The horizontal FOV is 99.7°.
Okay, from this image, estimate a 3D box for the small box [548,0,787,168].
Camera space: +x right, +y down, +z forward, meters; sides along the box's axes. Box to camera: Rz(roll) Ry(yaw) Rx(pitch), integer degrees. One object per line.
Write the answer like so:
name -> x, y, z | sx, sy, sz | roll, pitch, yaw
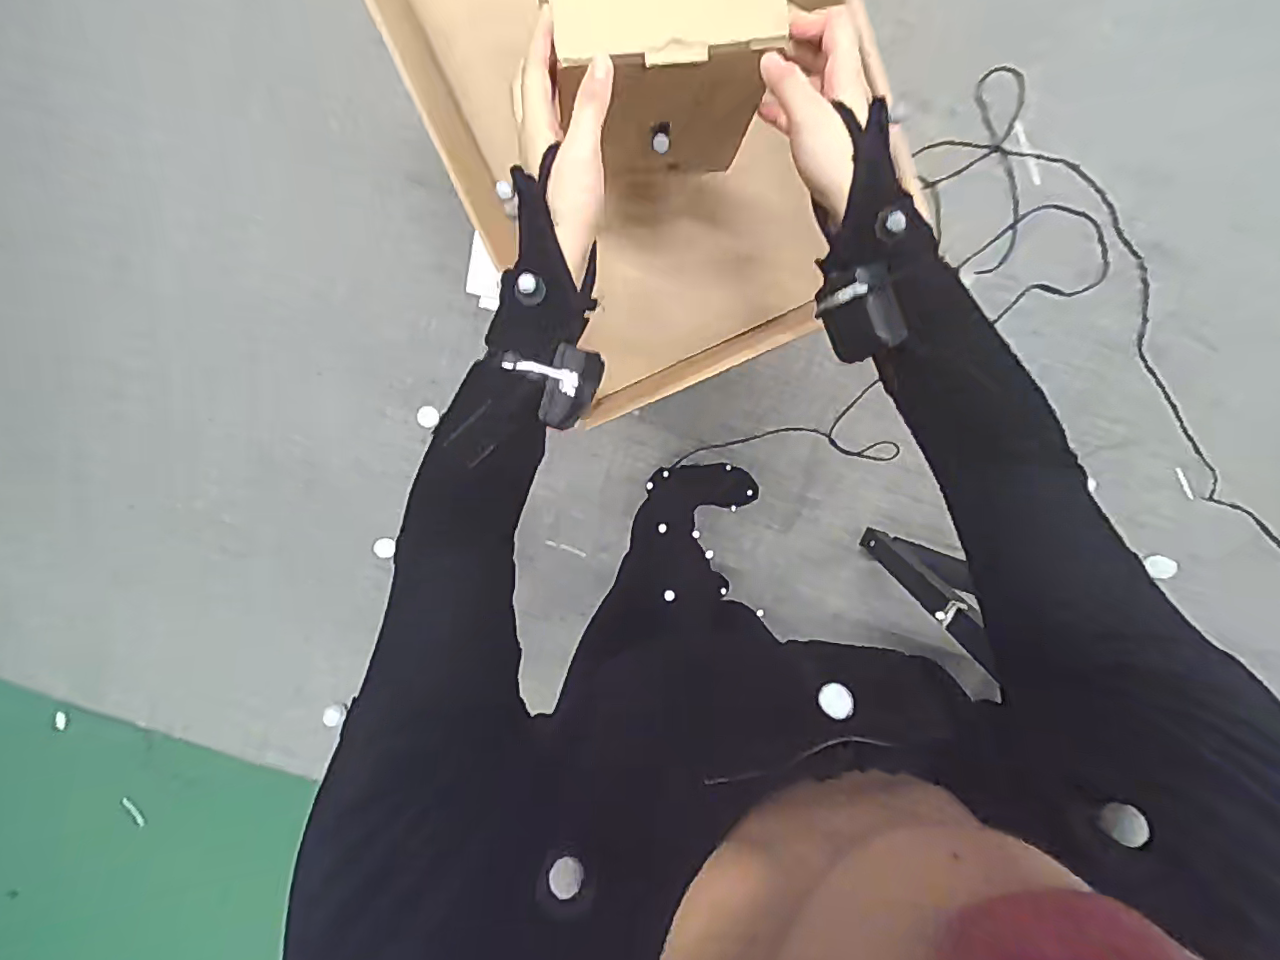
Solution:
small box -> 0.009, -0.384, 0.448 | 0.168, 0.176, 0.179 | -7, 93, -4
